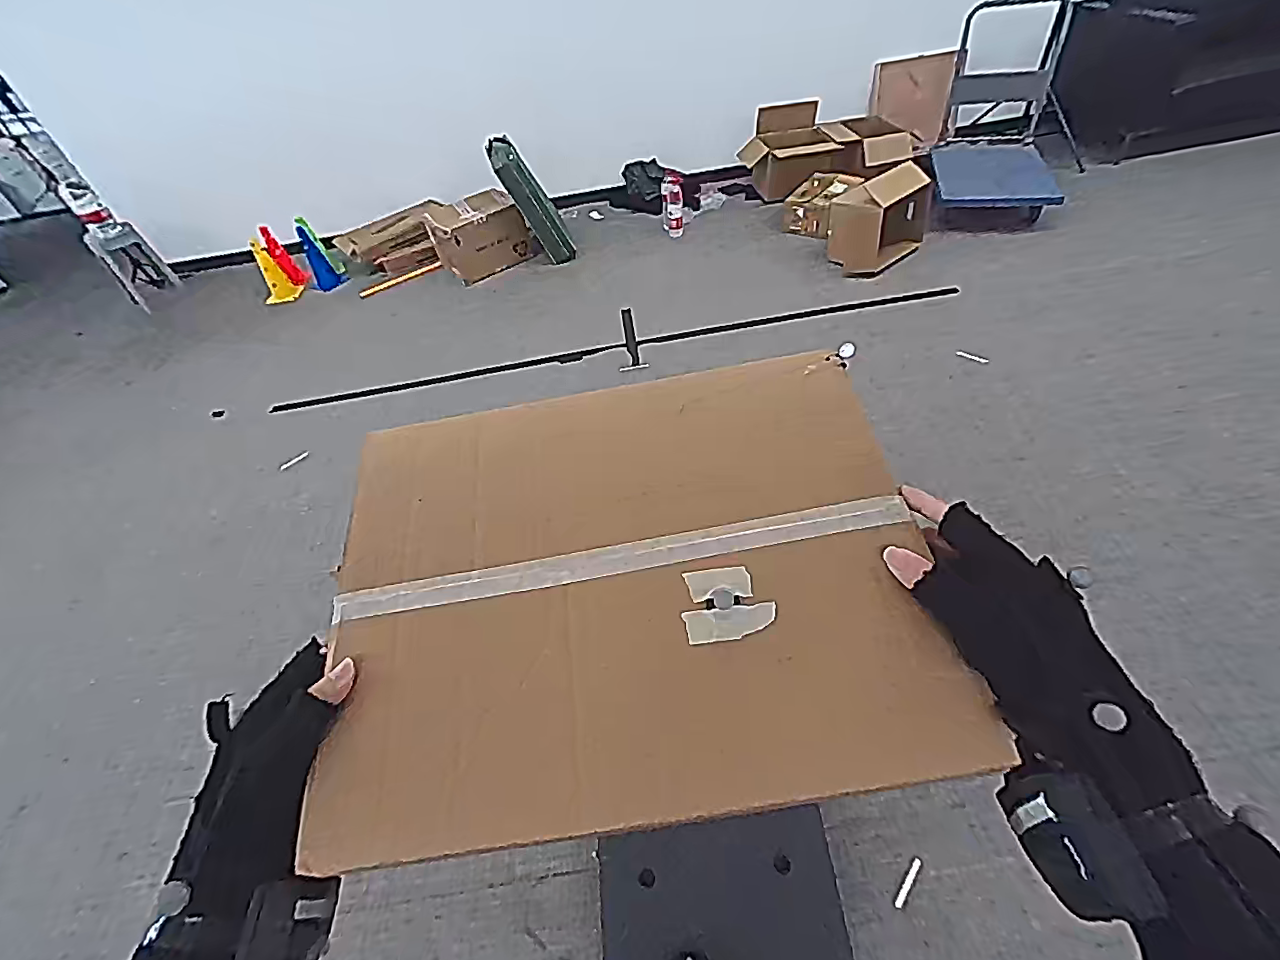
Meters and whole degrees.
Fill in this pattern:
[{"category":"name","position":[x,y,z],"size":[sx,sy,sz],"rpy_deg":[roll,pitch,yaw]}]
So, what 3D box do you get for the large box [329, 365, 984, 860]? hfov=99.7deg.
[{"category":"large box","position":[0.003,0.139,0.521],"size":[0.408,0.320,0.320],"rpy_deg":[-10,59,2]}]
